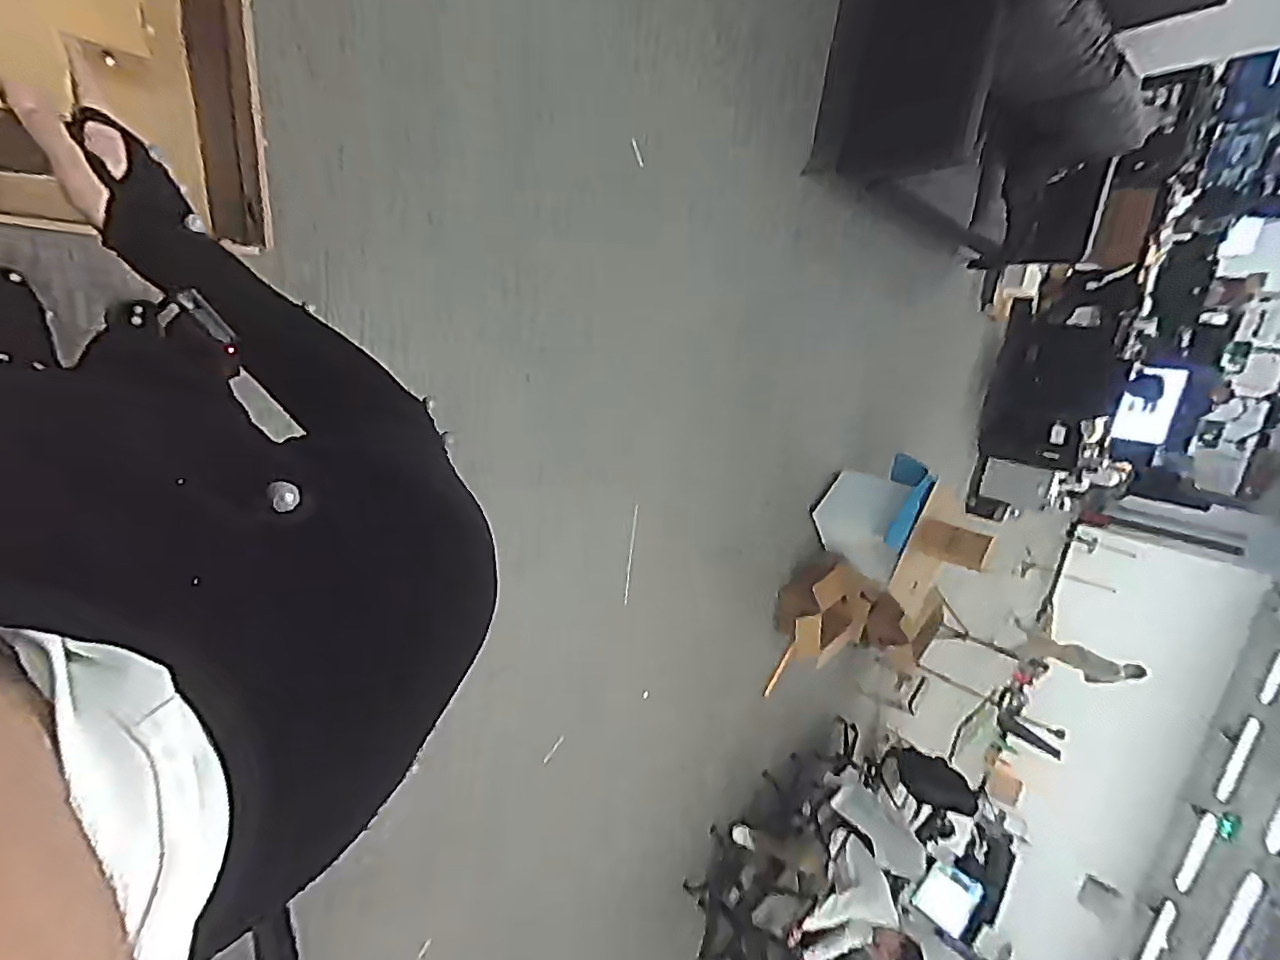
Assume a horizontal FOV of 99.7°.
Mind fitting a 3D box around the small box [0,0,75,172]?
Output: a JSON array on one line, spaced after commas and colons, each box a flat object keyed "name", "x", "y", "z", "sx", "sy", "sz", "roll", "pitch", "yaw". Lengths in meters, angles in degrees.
[{"name": "small box", "x": -0.577, "y": -0.359, "z": 0.416, "sx": 0.168, "sy": 0.176, "sz": 0.179, "roll": -21, "pitch": 110, "yaw": -44}]

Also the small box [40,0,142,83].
[{"name": "small box", "x": -0.753, "y": -0.636, "z": 0.678, "sx": 0.179, "sy": 0.176, "sz": 0.168, "roll": -9, "pitch": 110, "yaw": -42}]
